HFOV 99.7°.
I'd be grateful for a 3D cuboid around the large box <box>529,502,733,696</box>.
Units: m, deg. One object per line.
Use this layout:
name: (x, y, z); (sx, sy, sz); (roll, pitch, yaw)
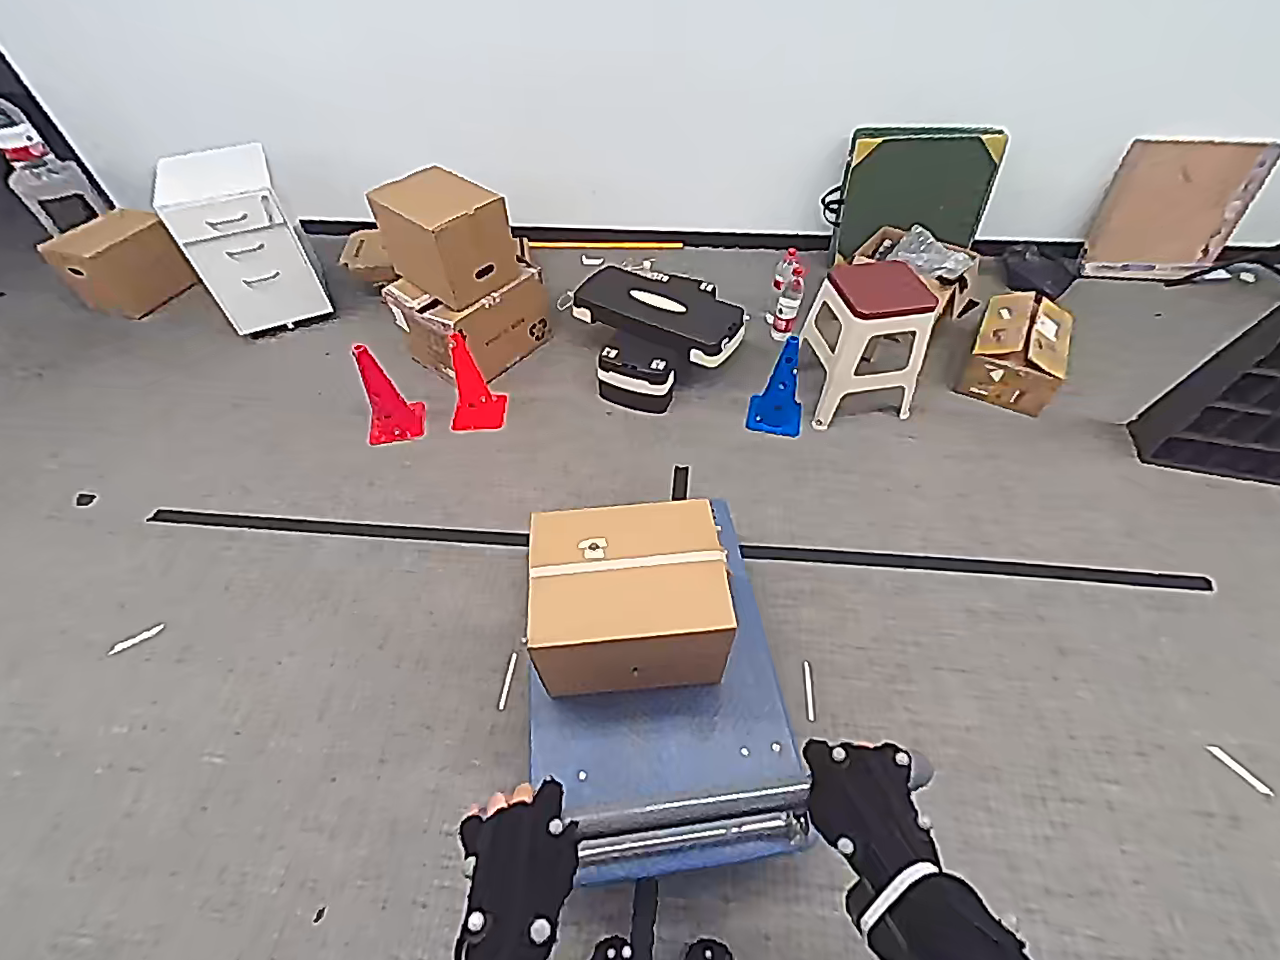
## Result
large box: (-0.025, 0.281, 1.252); (0.408, 0.320, 0.320); (-6, 51, -2)
